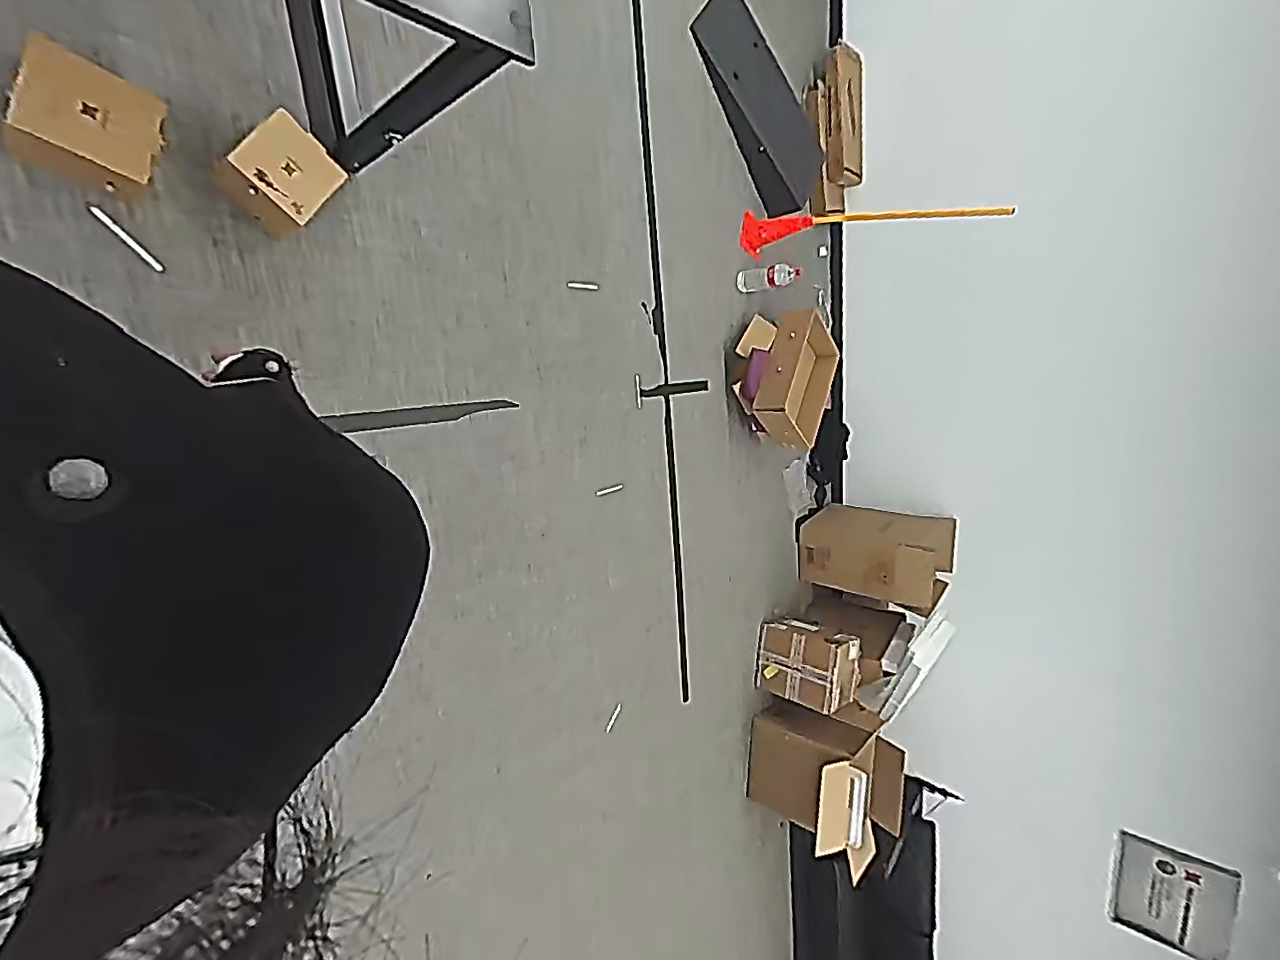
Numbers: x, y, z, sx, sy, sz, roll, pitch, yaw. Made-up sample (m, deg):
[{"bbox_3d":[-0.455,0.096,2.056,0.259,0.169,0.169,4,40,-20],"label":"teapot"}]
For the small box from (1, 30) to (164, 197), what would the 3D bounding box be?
[{"bbox_3d":[-1.014,-0.648,0.988,0.179,0.176,0.168,14,83,-48],"label":"small box"}]

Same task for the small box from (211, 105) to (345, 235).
[{"bbox_3d":[-0.814,-0.686,1.213,0.168,0.176,0.179,45,62,-42],"label":"small box"}]
